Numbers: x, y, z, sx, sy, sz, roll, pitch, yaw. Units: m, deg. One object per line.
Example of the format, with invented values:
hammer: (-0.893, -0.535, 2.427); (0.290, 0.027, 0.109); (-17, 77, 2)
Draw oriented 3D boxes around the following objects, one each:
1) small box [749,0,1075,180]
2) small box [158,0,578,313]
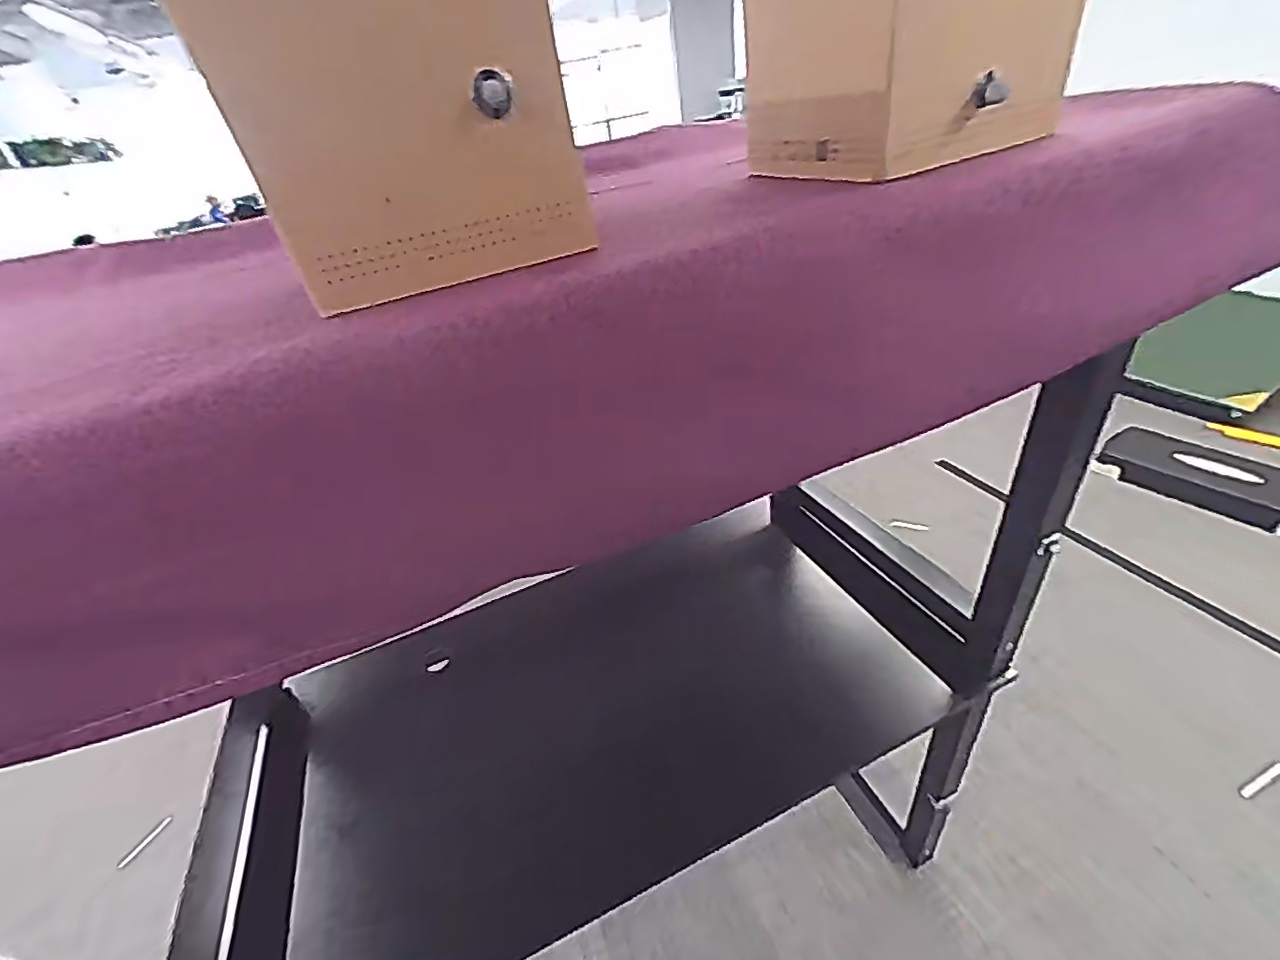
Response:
small box: (0.193, -0.341, 0.409); (0.179, 0.176, 0.168); (-22, 35, -15)
small box: (-0.149, -0.226, 0.348); (0.179, 0.176, 0.168); (-21, 35, -13)
